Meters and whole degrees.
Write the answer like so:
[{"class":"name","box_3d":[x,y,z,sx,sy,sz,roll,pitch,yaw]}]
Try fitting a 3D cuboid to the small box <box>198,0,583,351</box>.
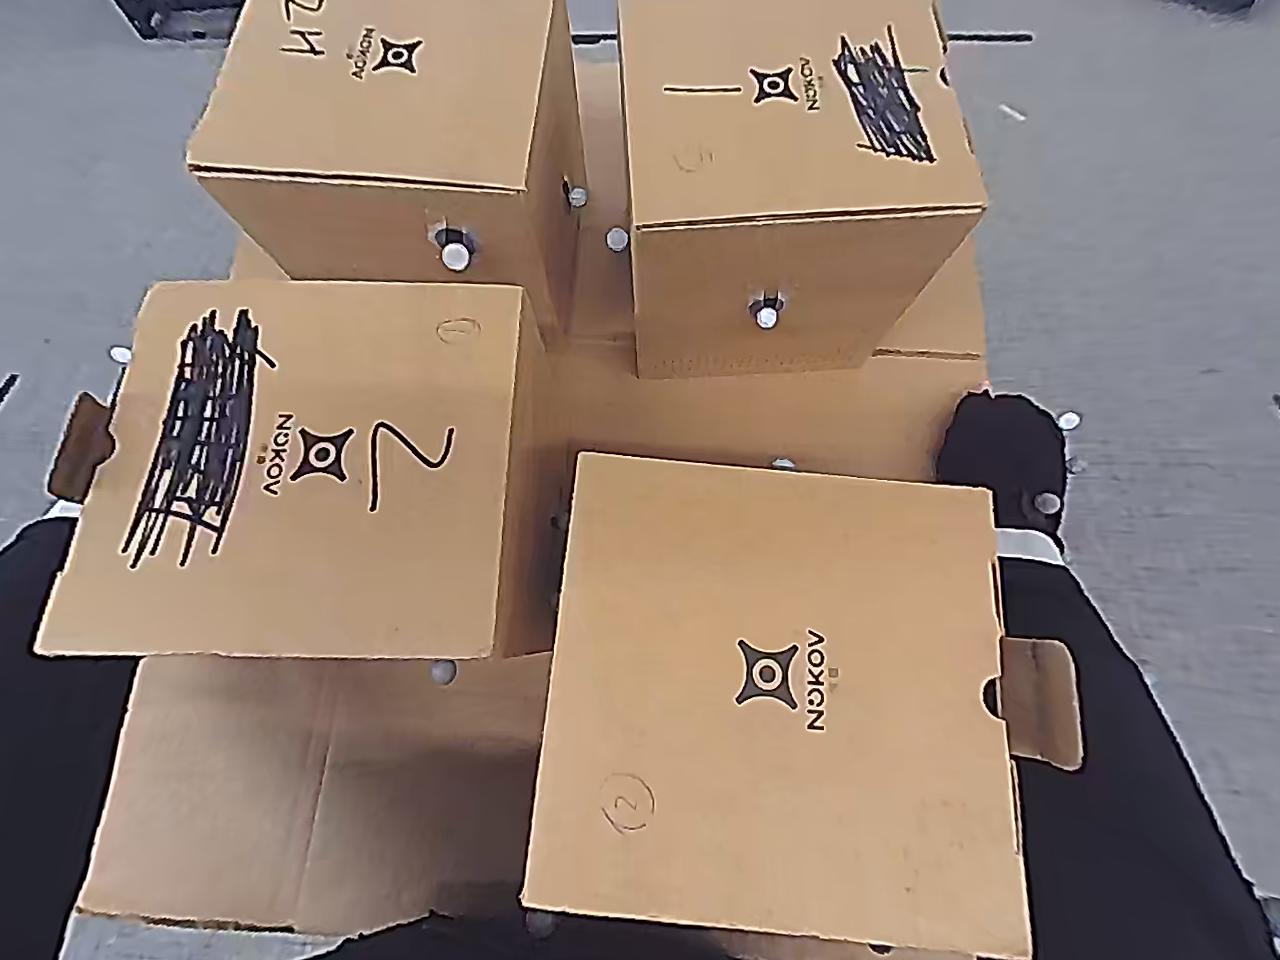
[{"class":"small box","box_3d":[-0.139,-0.204,0.378,0.179,0.176,0.168,4,74,2]}]
